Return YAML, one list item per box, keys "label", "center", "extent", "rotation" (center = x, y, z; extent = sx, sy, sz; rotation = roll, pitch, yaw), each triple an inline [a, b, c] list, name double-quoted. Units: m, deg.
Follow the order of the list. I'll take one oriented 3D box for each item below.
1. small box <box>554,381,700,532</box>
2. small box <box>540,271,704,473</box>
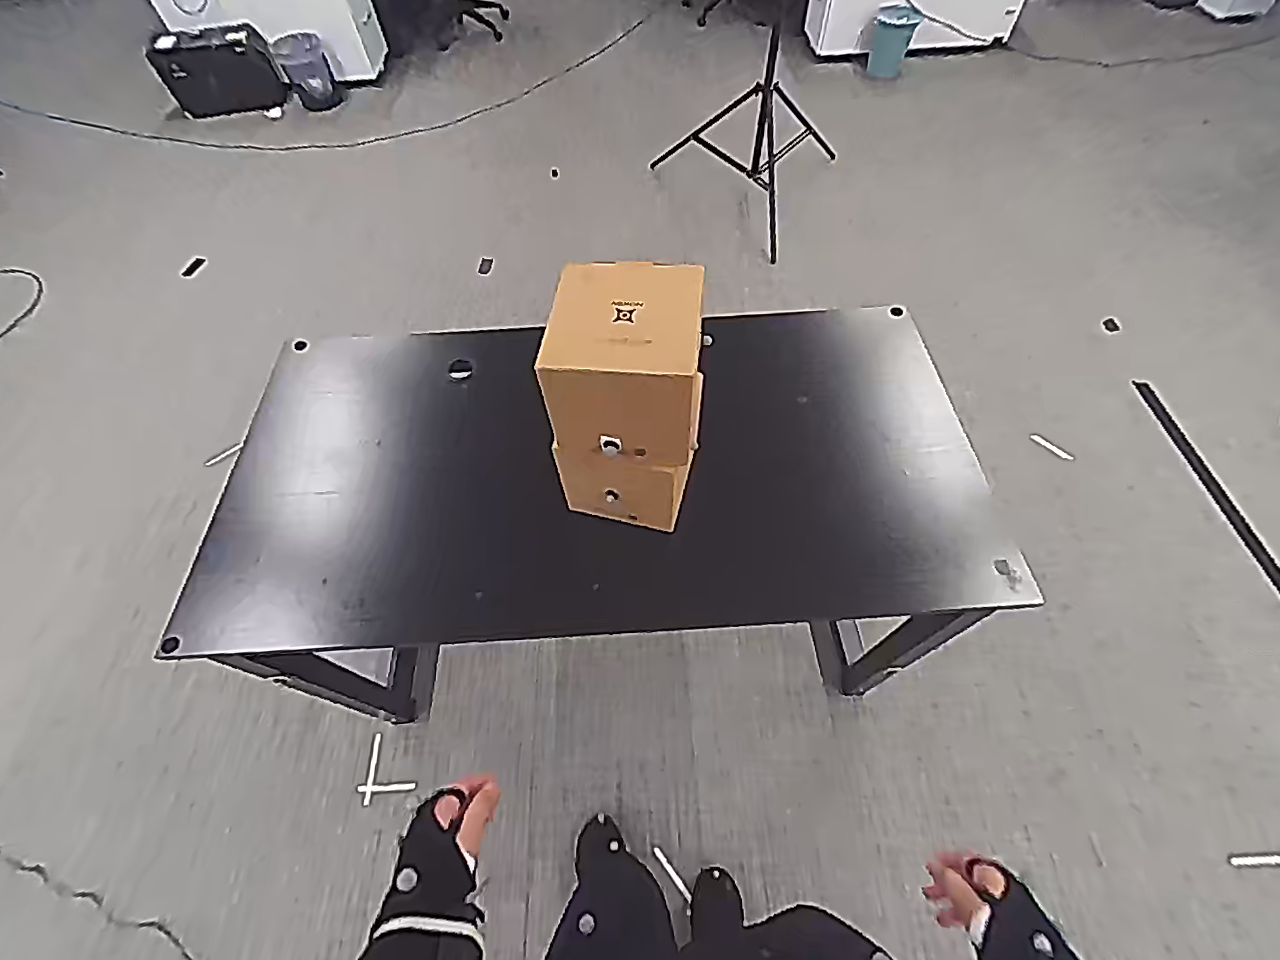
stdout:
- label: "small box"
  center: [-0.011, -0.044, 0.804]
  extent: [0.168, 0.176, 0.179]
  rotation: [12, 59, 9]
- label: "small box"
  center: [-0.012, -0.130, 0.665]
  extent: [0.168, 0.176, 0.179]
  rotation: [4, 59, 6]
